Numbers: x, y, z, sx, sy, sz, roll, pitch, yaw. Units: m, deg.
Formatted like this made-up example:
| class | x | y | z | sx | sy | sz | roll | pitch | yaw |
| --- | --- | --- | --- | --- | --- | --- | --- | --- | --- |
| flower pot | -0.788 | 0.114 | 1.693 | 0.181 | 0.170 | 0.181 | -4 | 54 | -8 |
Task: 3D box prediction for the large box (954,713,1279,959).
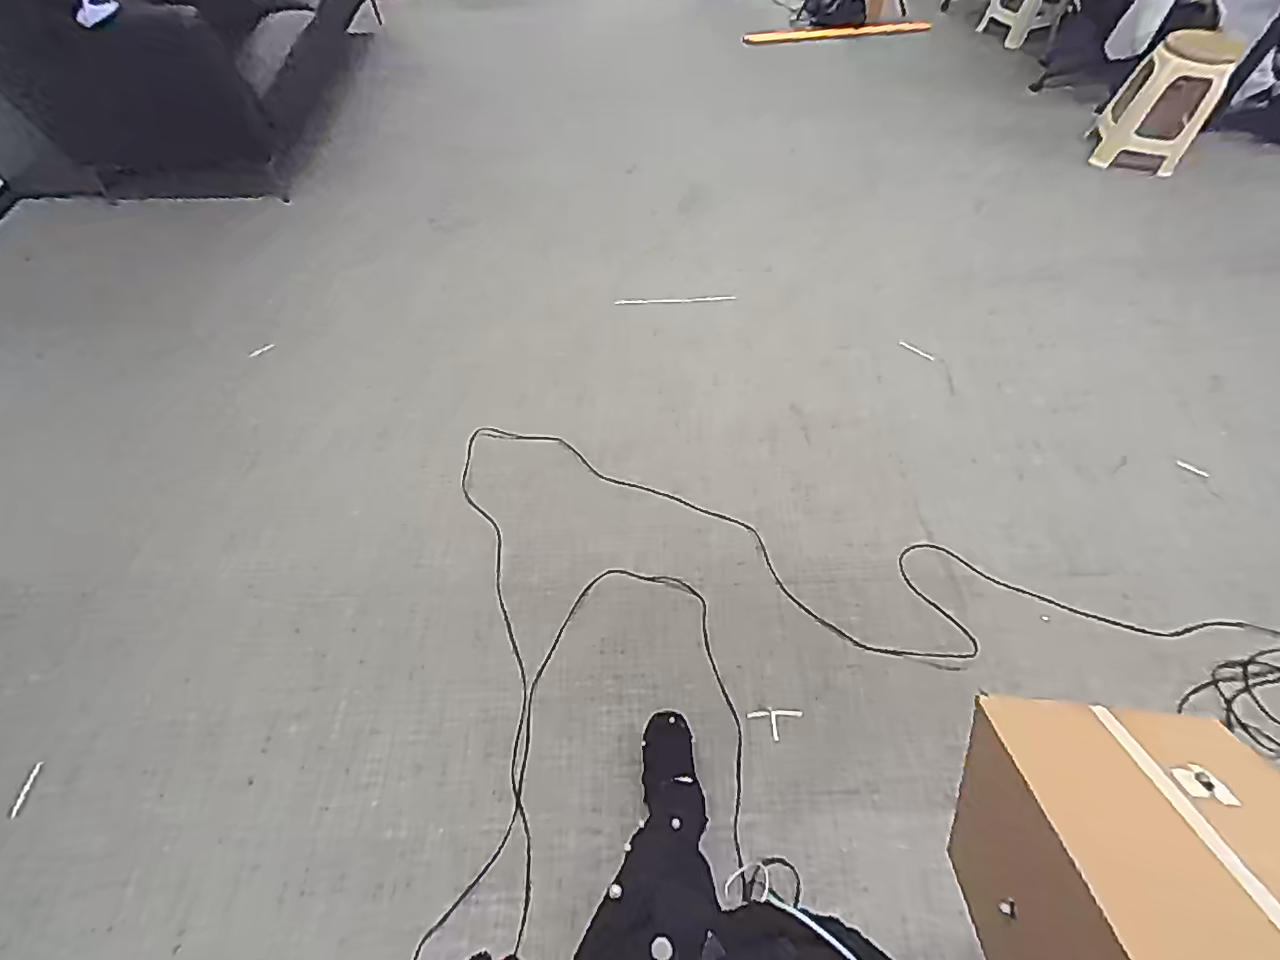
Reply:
| class | x | y | z | sx | sy | sz | roll | pitch | yaw |
| --- | --- | --- | --- | --- | --- | --- | --- | --- | --- |
| large box | 0.630 | 0.557 | 0.652 | 0.320 | 0.320 | 0.408 | 2 | 16 | 11 |
